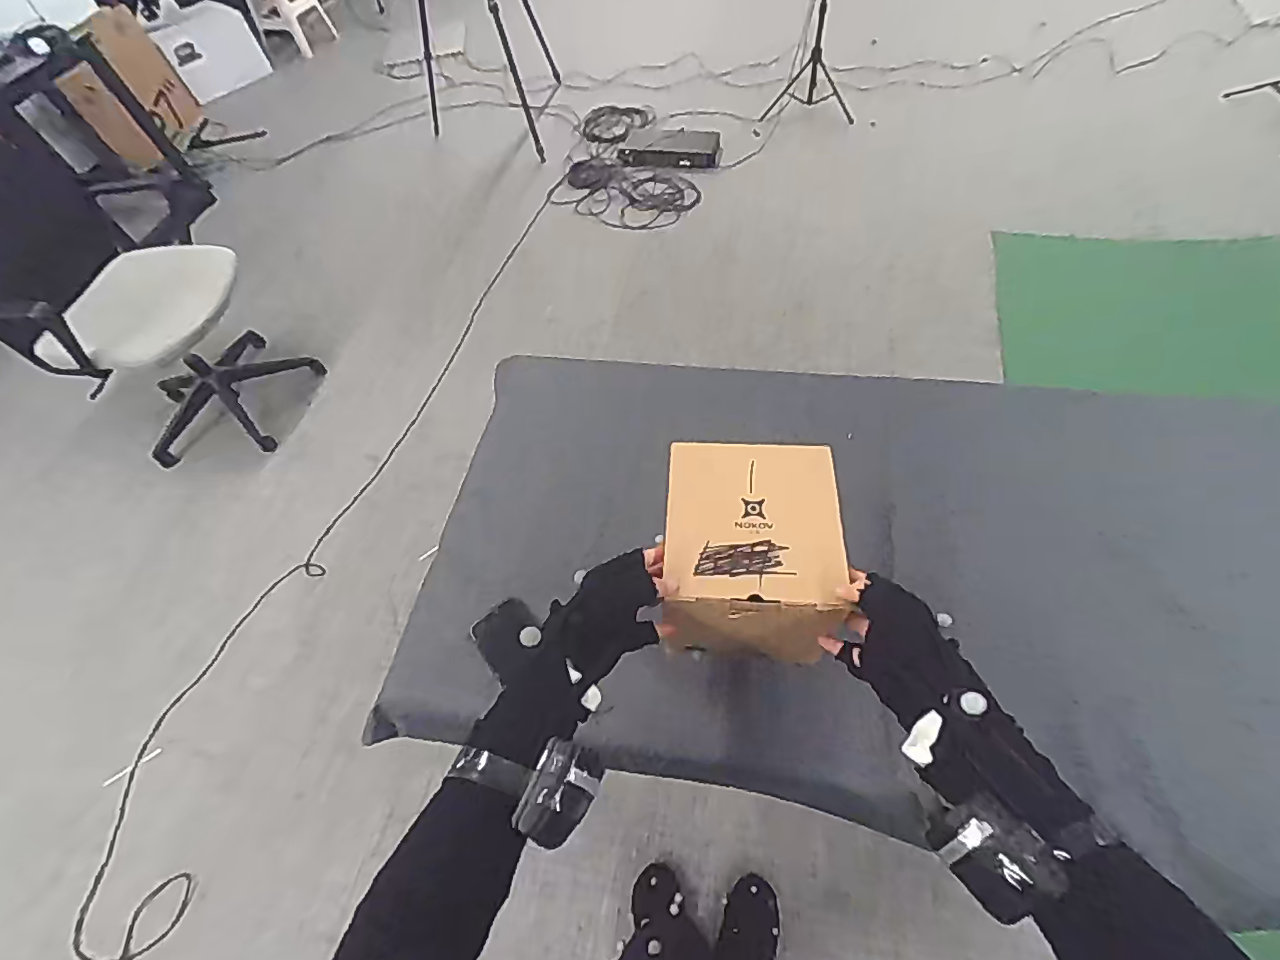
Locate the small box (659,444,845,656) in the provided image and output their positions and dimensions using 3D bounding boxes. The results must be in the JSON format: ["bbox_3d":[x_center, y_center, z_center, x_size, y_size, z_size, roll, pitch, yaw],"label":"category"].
[{"bbox_3d":[0.112,0.081,0.588,0.168,0.176,0.179,2,55,6],"label":"small box"}]
